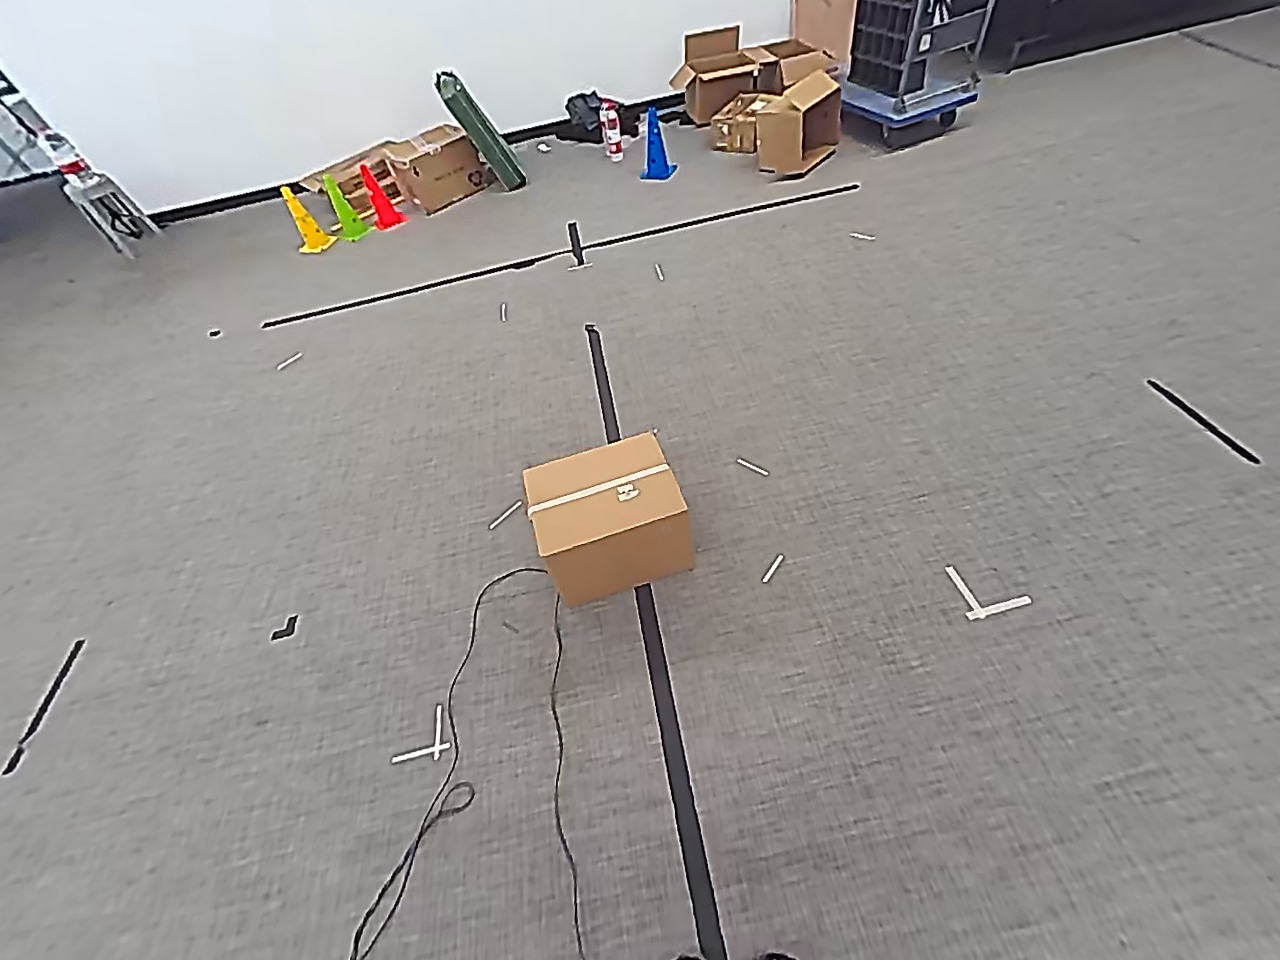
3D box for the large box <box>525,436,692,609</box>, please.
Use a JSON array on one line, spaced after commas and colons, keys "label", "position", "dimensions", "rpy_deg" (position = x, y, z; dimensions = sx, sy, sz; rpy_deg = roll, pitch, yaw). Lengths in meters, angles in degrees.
[{"label": "large box", "position": [-0.088, 0.129, 1.604], "dimensions": [0.408, 0.320, 0.320], "rpy_deg": [-17, 51, -5]}]
